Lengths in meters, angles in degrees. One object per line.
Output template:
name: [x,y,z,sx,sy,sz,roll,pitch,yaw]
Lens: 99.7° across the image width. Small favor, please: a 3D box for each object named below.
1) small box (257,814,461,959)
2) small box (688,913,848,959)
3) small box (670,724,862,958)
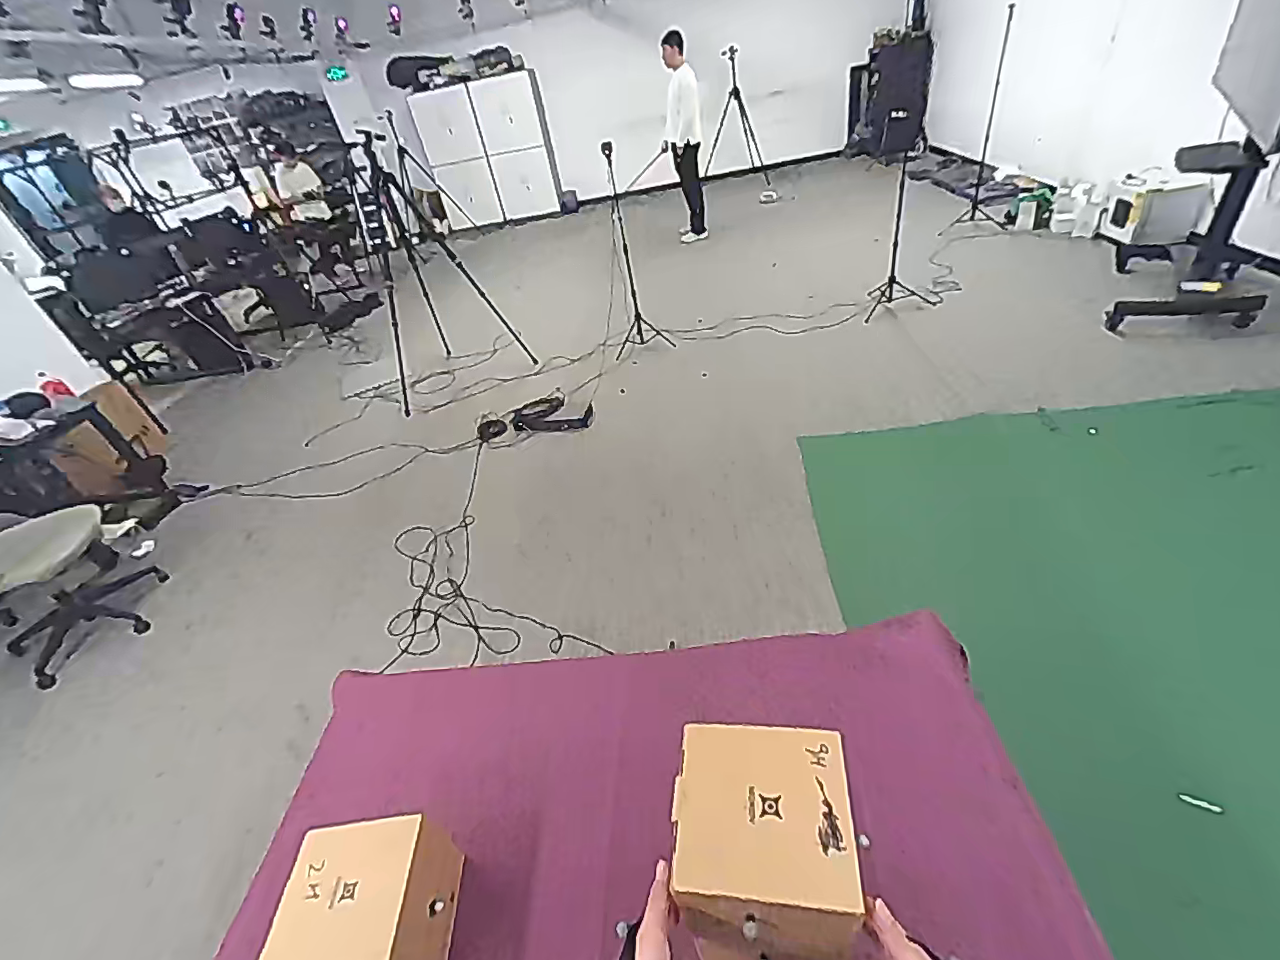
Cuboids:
small box: [-0.370,0.594,0.751,0.179,0.176,0.168,-10,37,3]
small box: [0.168,0.522,0.697,0.179,0.176,0.168,0,39,15]
small box: [0.140,0.394,0.597,0.179,0.176,0.168,-3,38,14]
